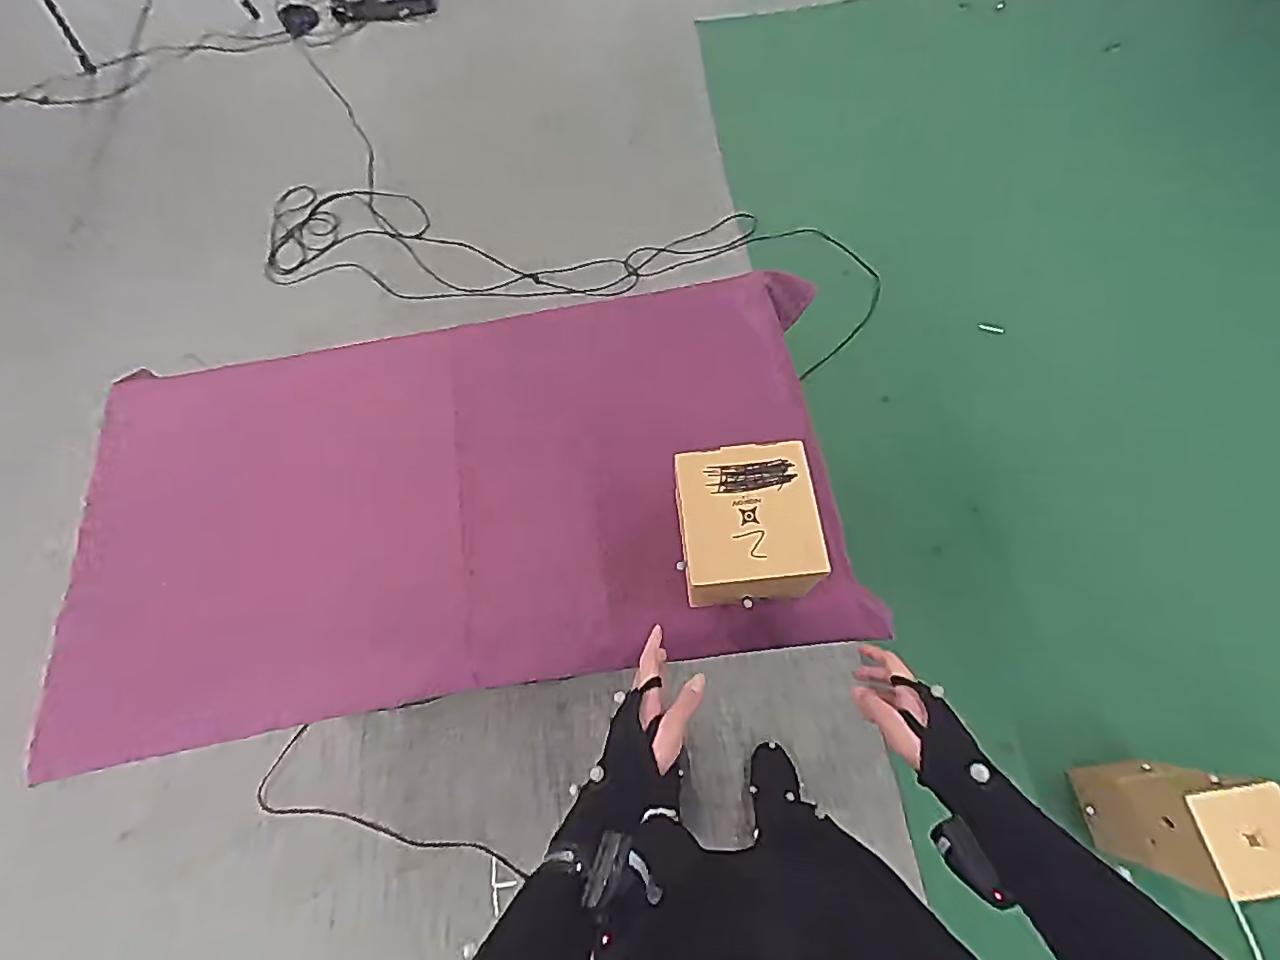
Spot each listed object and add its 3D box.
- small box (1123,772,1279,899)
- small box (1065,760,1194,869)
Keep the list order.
[{"bbox_3d":[1.099,0.677,1.047,0.179,0.176,0.168,-9,68,0],"label":"small box"},{"bbox_3d":[1.109,0.731,1.198,0.179,0.176,0.168,-9,68,2],"label":"small box"}]
